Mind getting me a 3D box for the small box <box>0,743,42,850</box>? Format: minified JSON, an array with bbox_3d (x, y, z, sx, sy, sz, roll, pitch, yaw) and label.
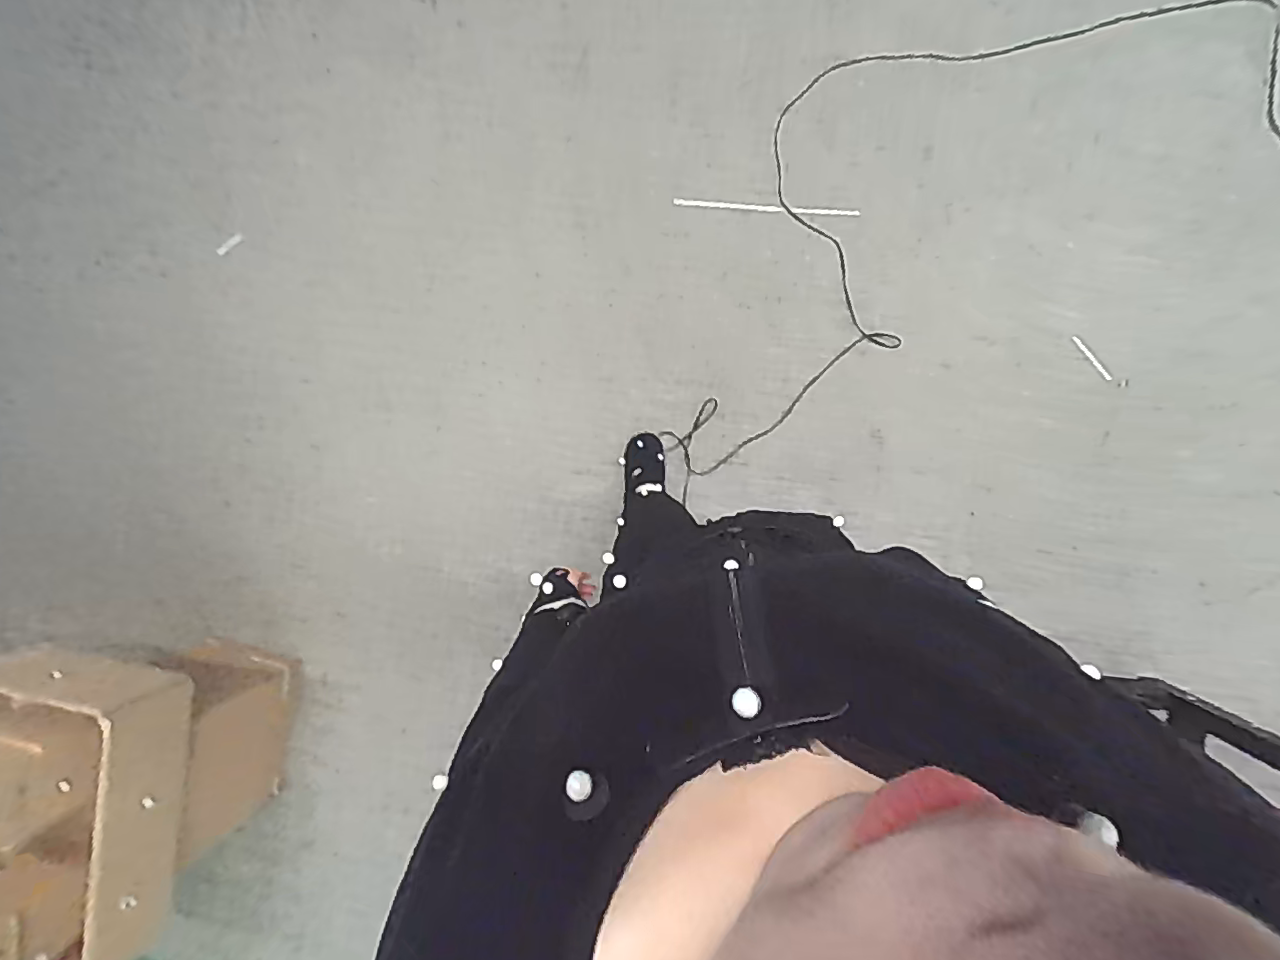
[{"bbox_3d":[-1.211,0.573,0.937,0.179,0.176,0.168,11,93,5],"label":"small box"}]
